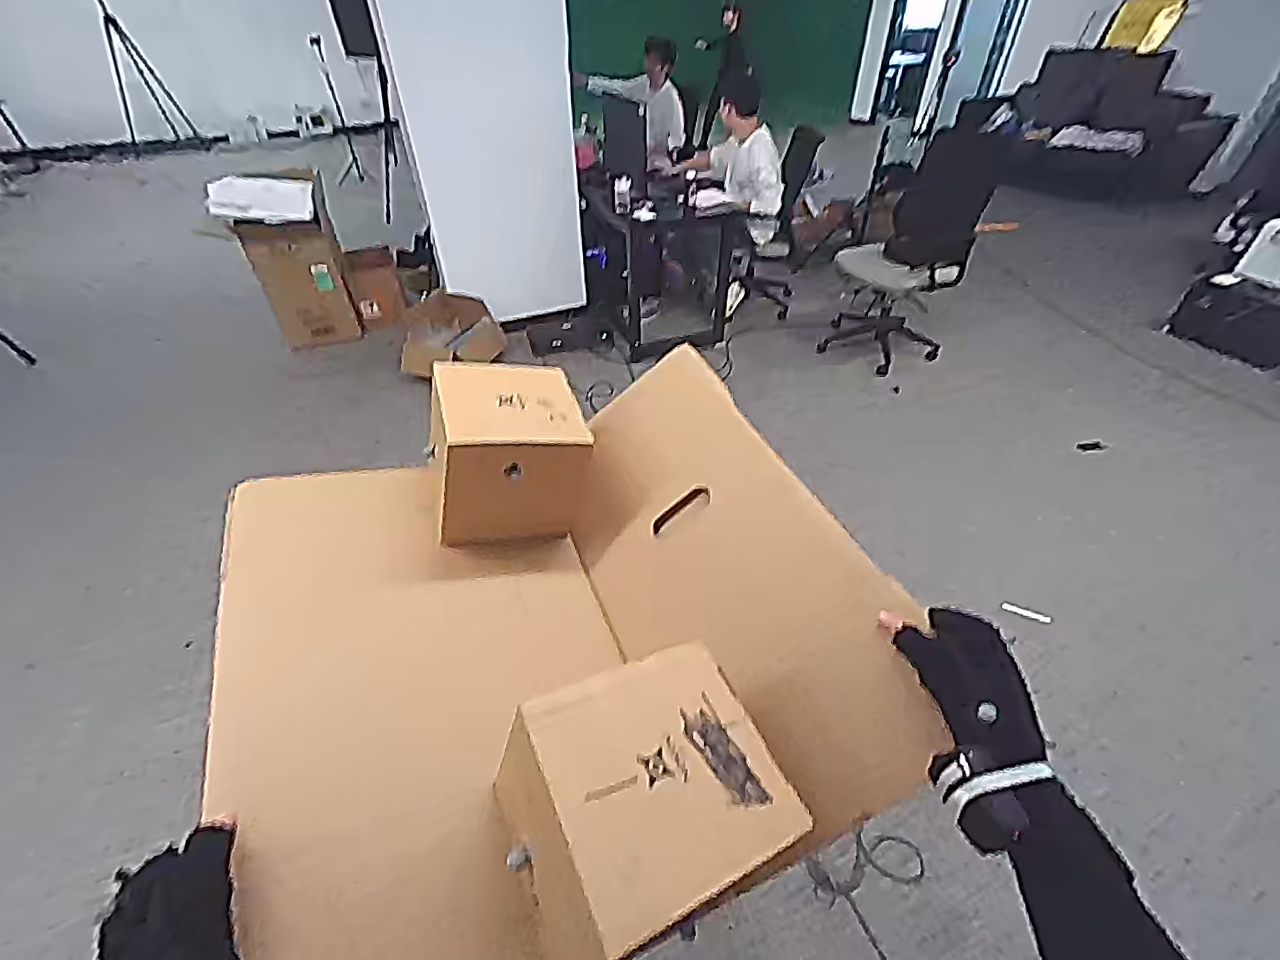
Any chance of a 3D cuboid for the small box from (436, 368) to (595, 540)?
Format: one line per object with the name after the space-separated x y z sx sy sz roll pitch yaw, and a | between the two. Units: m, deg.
-0.180 -0.033 0.734 0.179 0.176 0.168 -1 44 -26 | small box
